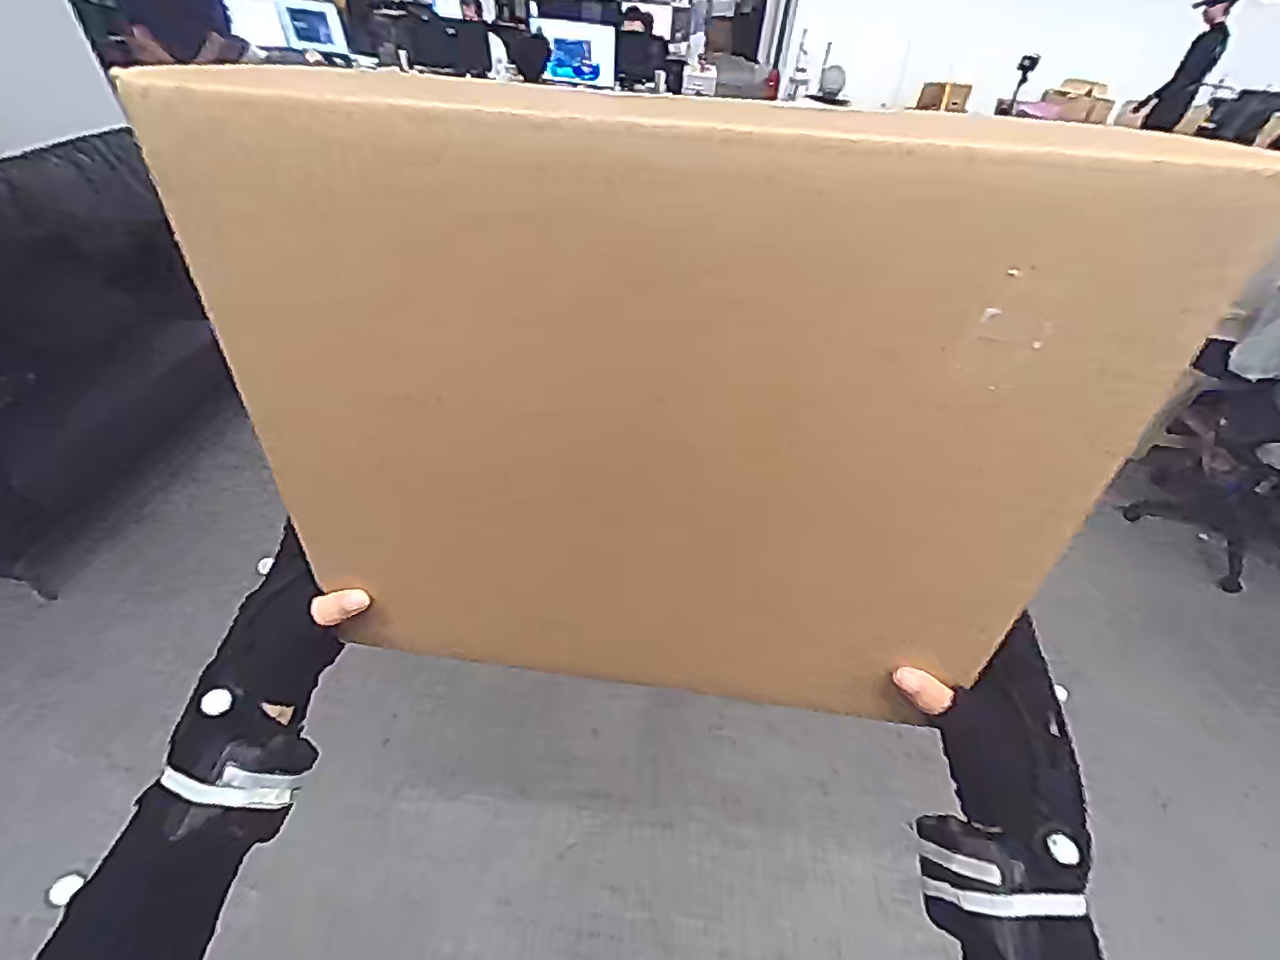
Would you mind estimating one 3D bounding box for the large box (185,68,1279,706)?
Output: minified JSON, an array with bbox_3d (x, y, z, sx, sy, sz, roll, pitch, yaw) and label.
[{"bbox_3d":[0.030,-0.079,0.395,0.408,0.320,0.320,8,35,3],"label":"large box"}]
